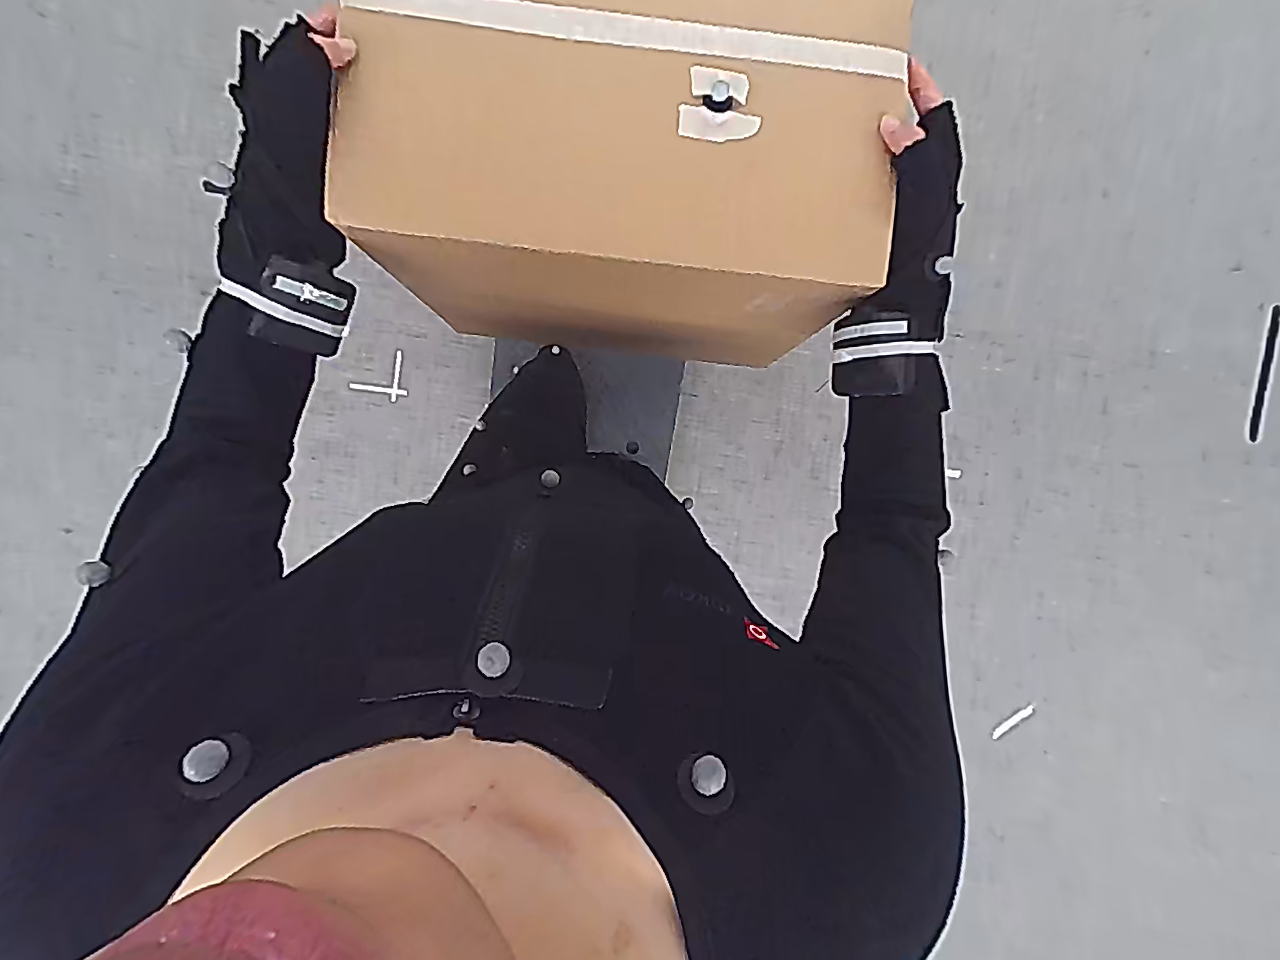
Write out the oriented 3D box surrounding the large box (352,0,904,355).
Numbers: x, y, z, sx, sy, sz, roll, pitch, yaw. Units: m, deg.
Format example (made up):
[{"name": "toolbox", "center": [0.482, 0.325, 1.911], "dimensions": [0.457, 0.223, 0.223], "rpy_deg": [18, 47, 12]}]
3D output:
[{"name": "large box", "center": [-0.010, -0.329, 0.551], "dimensions": [0.408, 0.320, 0.320], "rpy_deg": [6, 91, -3]}]
